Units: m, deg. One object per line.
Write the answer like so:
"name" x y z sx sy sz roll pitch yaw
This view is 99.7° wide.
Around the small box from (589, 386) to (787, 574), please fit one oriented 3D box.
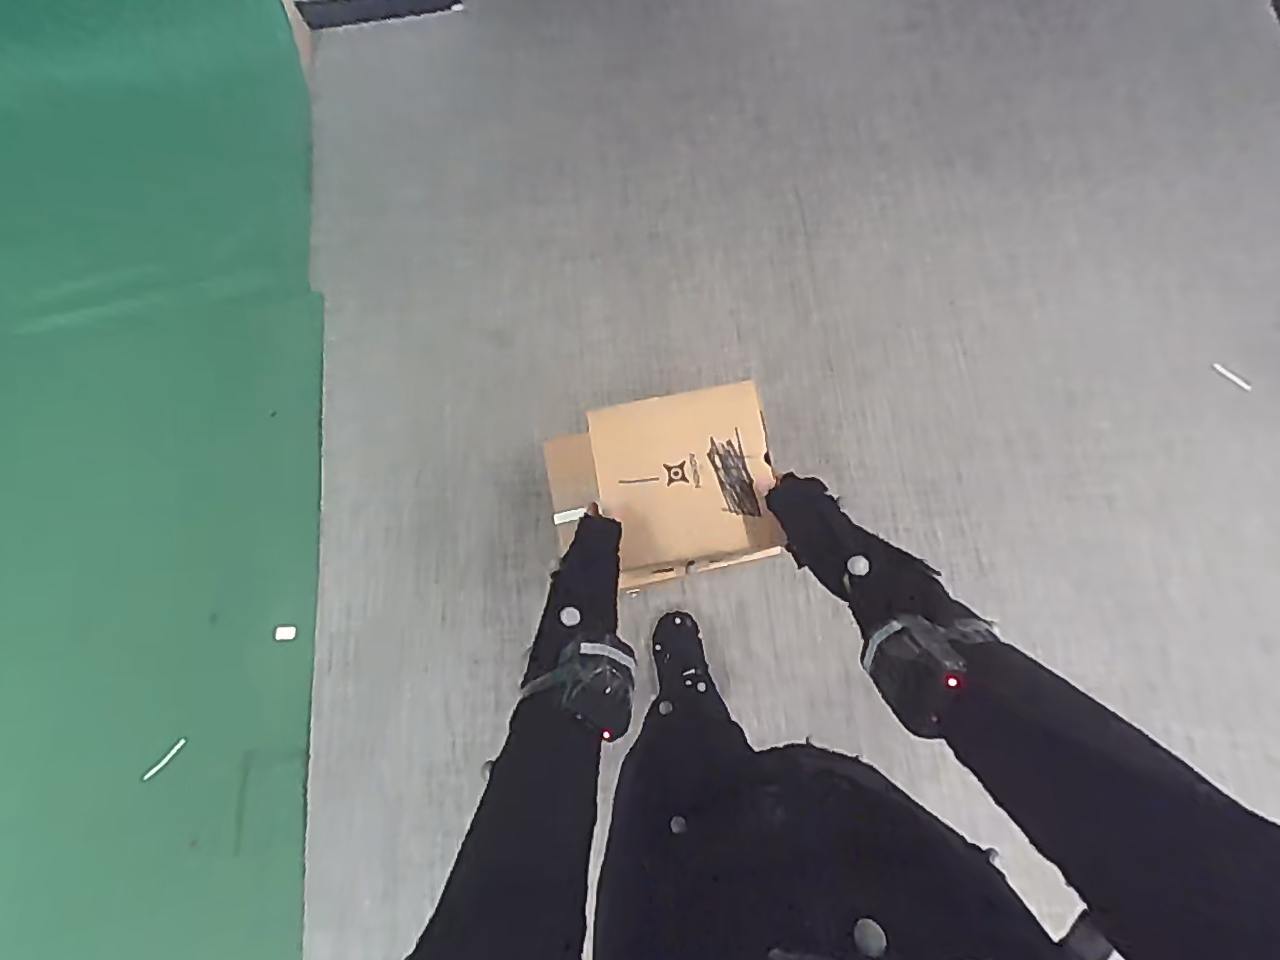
"small box" 0.048 0.011 0.609 0.179 0.176 0.168 -10 79 2
